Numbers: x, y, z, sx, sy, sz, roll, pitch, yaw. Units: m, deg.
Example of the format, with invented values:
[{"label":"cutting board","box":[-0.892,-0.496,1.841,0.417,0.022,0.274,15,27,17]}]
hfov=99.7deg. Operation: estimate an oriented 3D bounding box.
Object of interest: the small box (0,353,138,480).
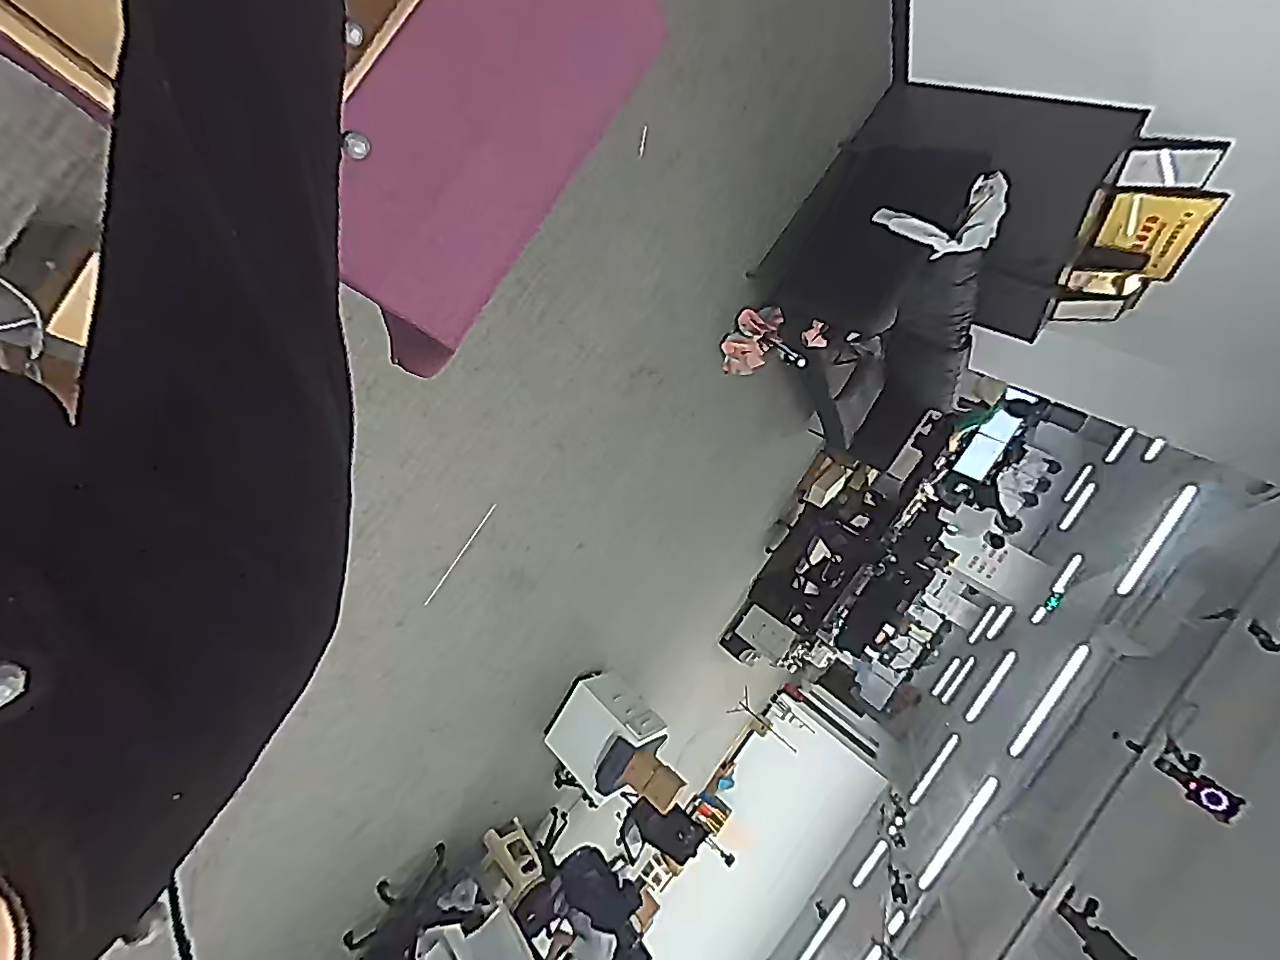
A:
[{"label":"small box","box":[-1.132,-0.124,1.039,0.168,0.176,0.179,-59,150,4]}]
